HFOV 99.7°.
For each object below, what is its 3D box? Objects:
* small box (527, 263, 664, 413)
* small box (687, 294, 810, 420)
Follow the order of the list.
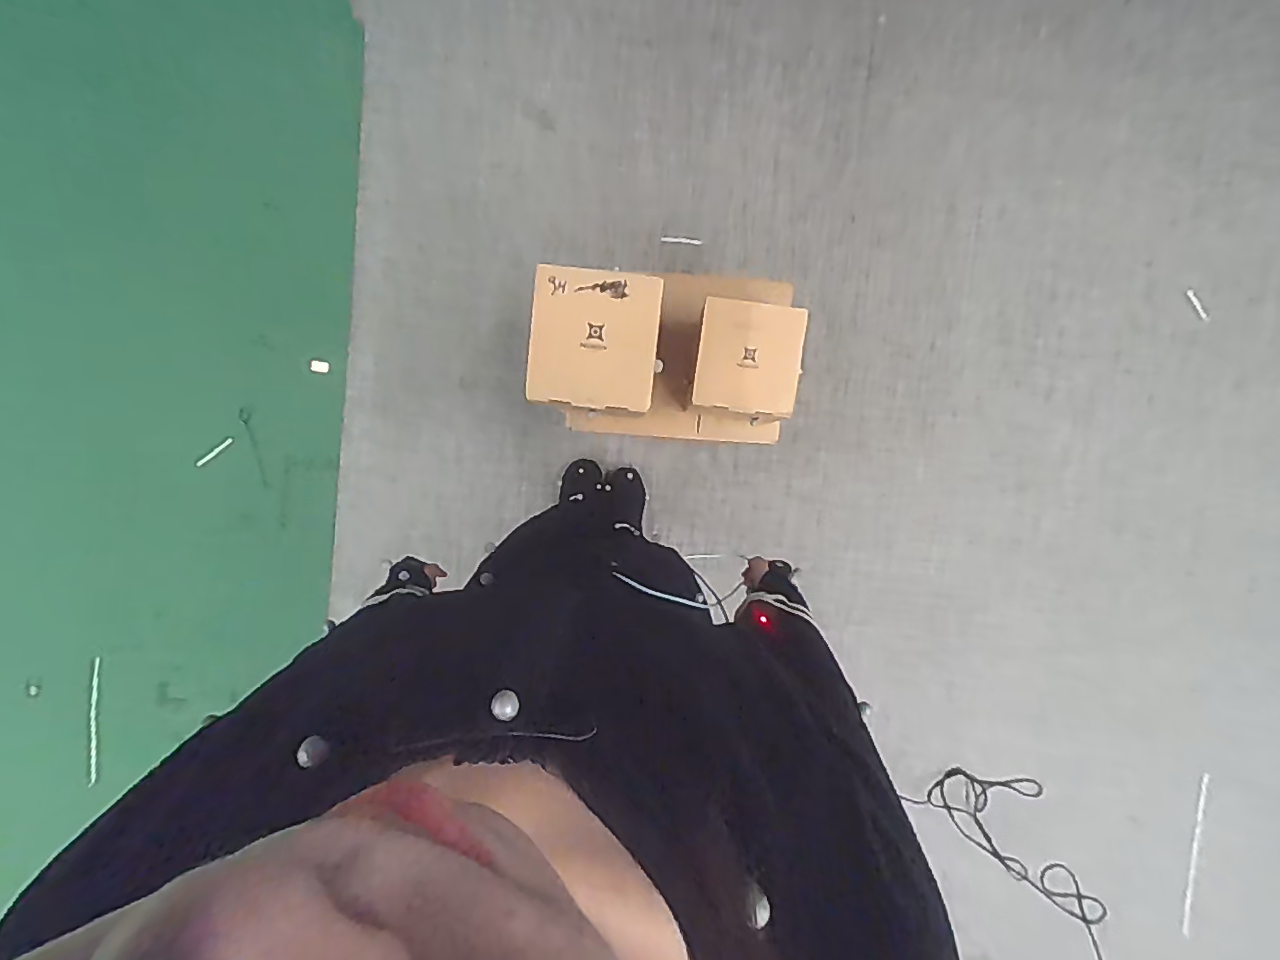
[{"bbox_3d":[-0.058,-0.191,0.776,0.168,0.176,0.179,6,96,-2],"label":"small box"},{"bbox_3d":[0.177,-0.202,0.937,0.168,0.176,0.179,9,93,0],"label":"small box"}]
